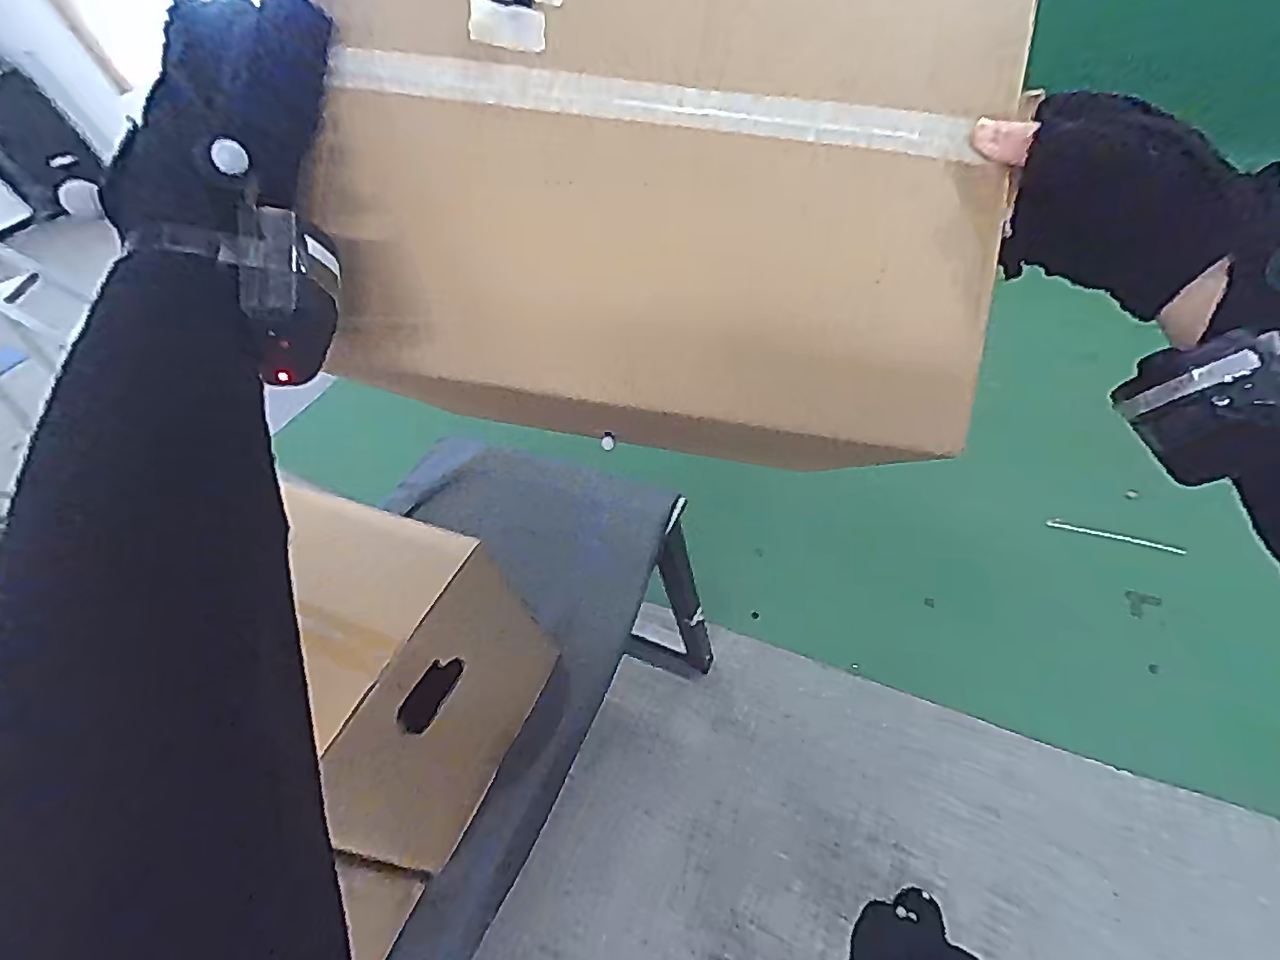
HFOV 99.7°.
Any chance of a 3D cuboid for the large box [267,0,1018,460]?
[{"bbox_3d":[0.006,-0.197,0.454,0.408,0.320,0.320,10,90,4],"label":"large box"}]
